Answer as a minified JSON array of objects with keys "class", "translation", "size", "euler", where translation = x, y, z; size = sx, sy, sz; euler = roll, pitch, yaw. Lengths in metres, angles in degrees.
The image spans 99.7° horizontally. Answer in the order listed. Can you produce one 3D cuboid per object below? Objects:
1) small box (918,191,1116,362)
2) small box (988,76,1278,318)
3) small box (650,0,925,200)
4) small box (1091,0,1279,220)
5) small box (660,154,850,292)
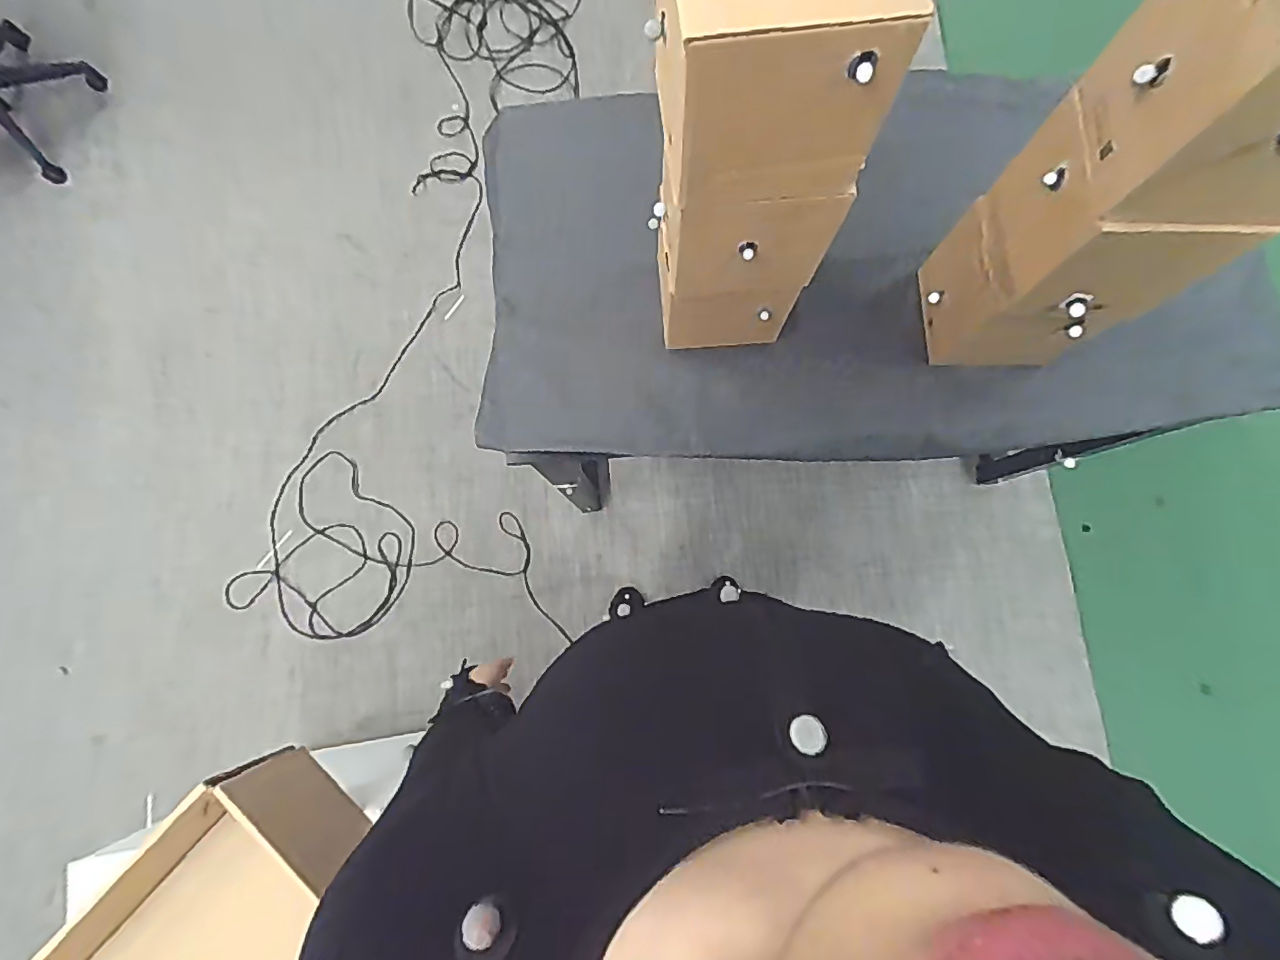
[{"class":"small box","translation":[0.522,-0.275,0.759],"size":[0.179,0.176,0.168],"euler":[0,78,2]},{"class":"small box","translation":[0.516,-0.301,0.598],"size":[0.168,0.176,0.179],"euler":[1,80,4]},{"class":"small box","translation":[0.101,-0.366,0.458],"size":[0.179,0.176,0.168],"euler":[-7,79,0]},{"class":"small box","translation":[0.511,-0.336,0.438],"size":[0.179,0.176,0.168],"euler":[3,79,4]},{"class":"small box","translation":[0.115,-0.335,0.618],"size":[0.179,0.176,0.168],"euler":[-4,79,1]}]
